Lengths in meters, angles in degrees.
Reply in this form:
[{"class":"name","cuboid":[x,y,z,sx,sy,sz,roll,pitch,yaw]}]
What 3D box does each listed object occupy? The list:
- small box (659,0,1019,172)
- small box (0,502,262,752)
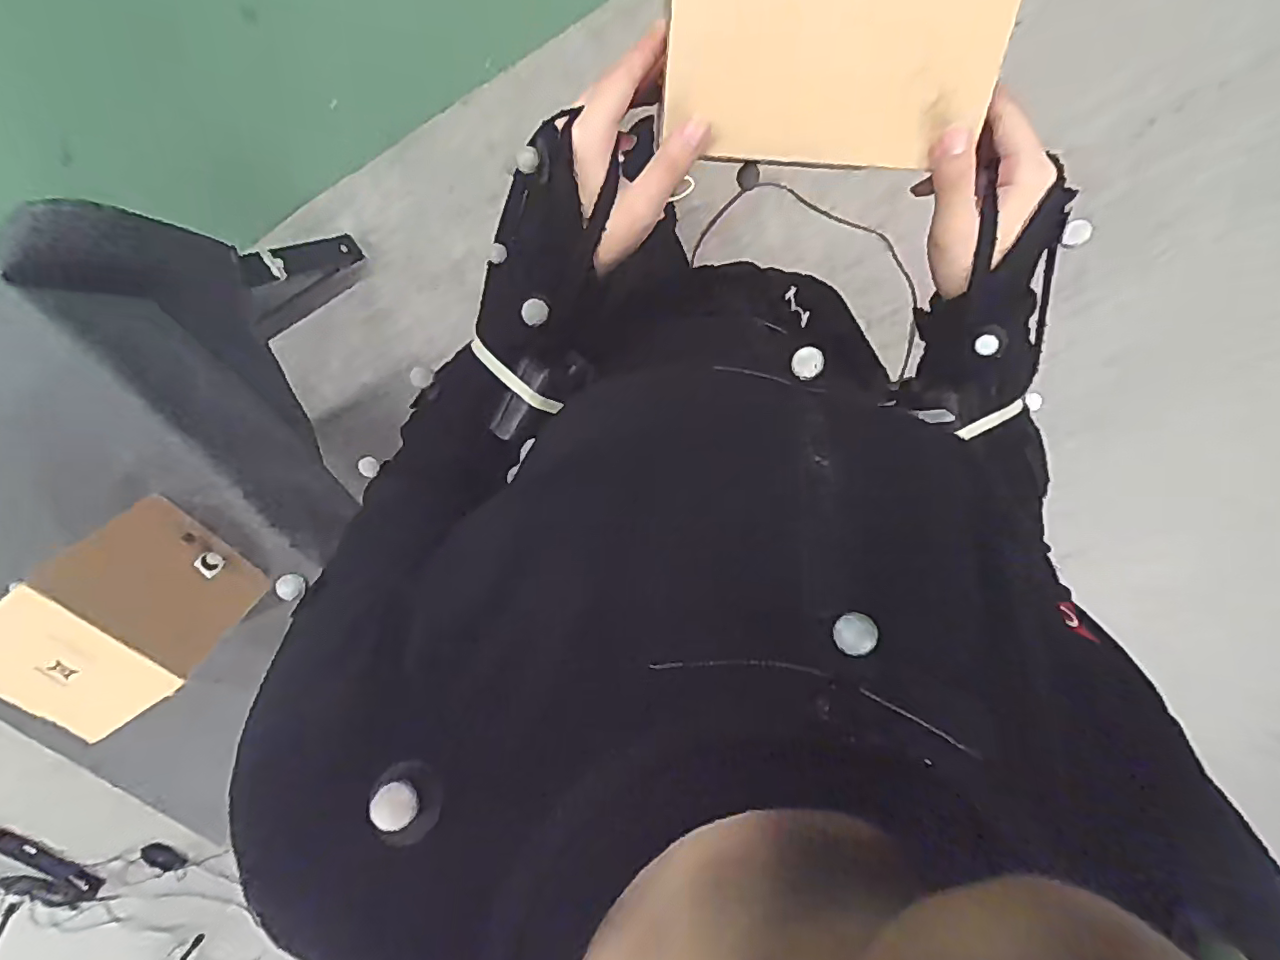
[{"class":"small box","cuboid":[0.098,-0.283,0.313,0.168,0.176,0.179,3,119,-1]},{"class":"small box","cuboid":[-0.581,0.159,0.606,0.179,0.176,0.168,-33,116,15]}]
